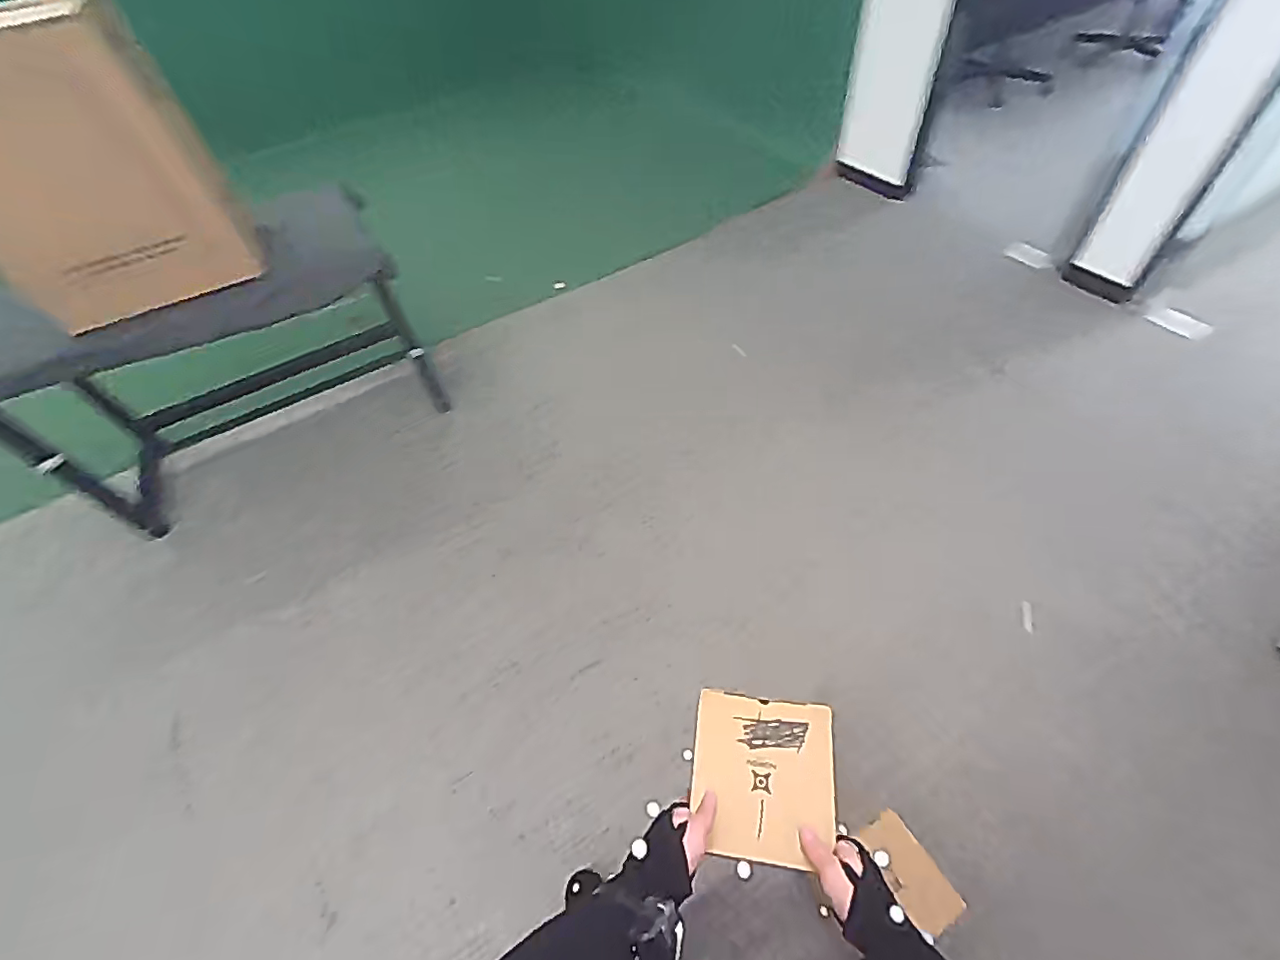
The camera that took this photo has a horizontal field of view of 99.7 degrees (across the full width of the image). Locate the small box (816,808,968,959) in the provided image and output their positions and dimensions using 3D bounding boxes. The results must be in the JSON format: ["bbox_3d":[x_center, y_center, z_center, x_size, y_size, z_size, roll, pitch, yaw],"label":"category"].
[{"bbox_3d":[0.458,0.760,1.017,0.168,0.176,0.179,-26,55,-14],"label":"small box"}]

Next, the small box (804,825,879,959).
[{"bbox_3d":[0.474,0.859,1.145,0.168,0.176,0.179,-26,54,-14],"label":"small box"}]
